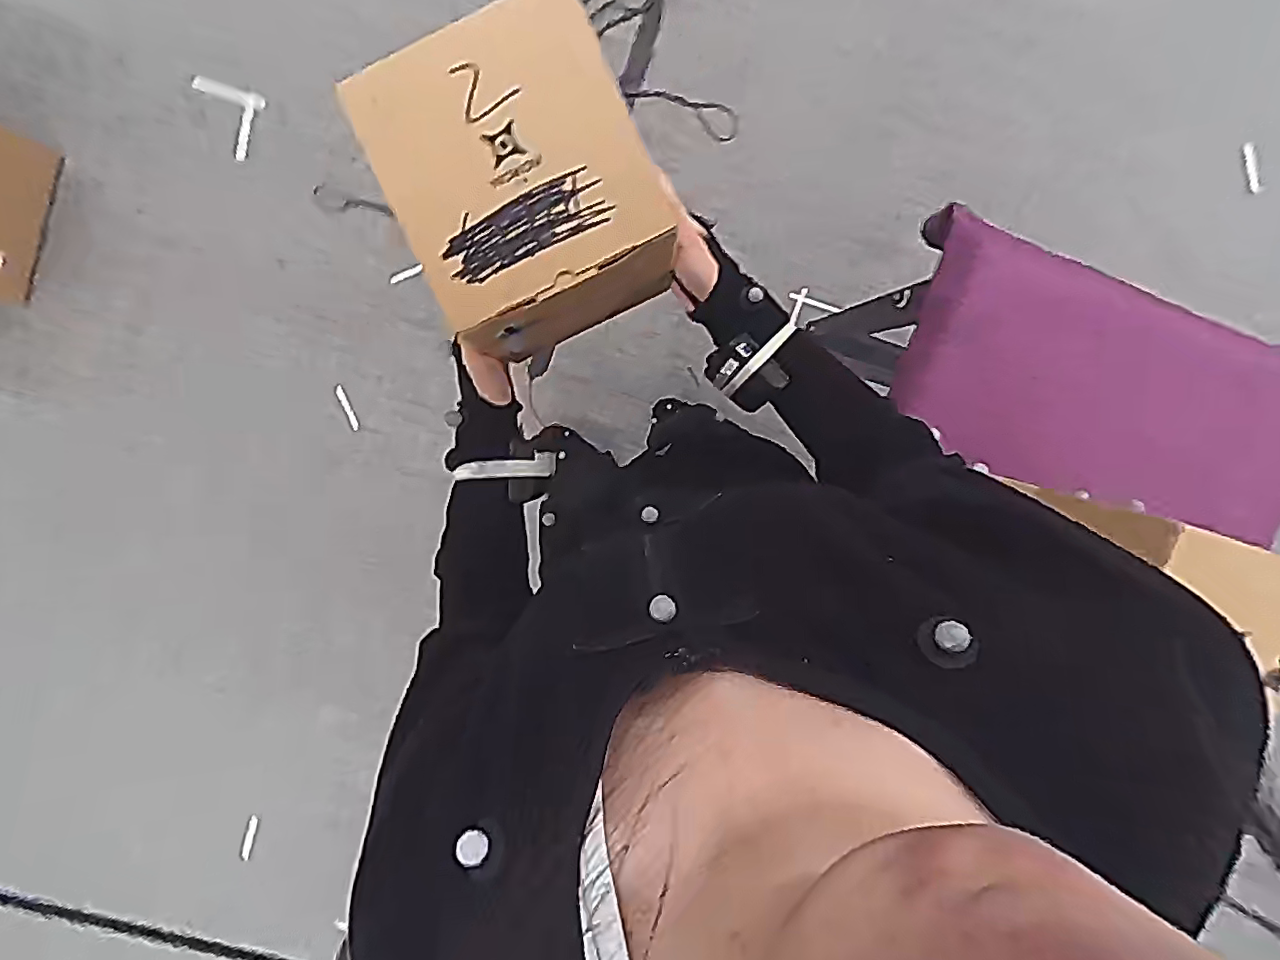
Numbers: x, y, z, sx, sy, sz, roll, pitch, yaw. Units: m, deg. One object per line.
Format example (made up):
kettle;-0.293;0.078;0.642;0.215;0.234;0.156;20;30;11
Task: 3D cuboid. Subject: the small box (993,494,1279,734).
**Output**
small box;0.519;0.121;0.561;0.179;0.176;0.168;17;99;-6

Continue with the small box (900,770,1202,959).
small box;0.441;0.468;0.612;0.179;0.176;0.168;22;97;-5
